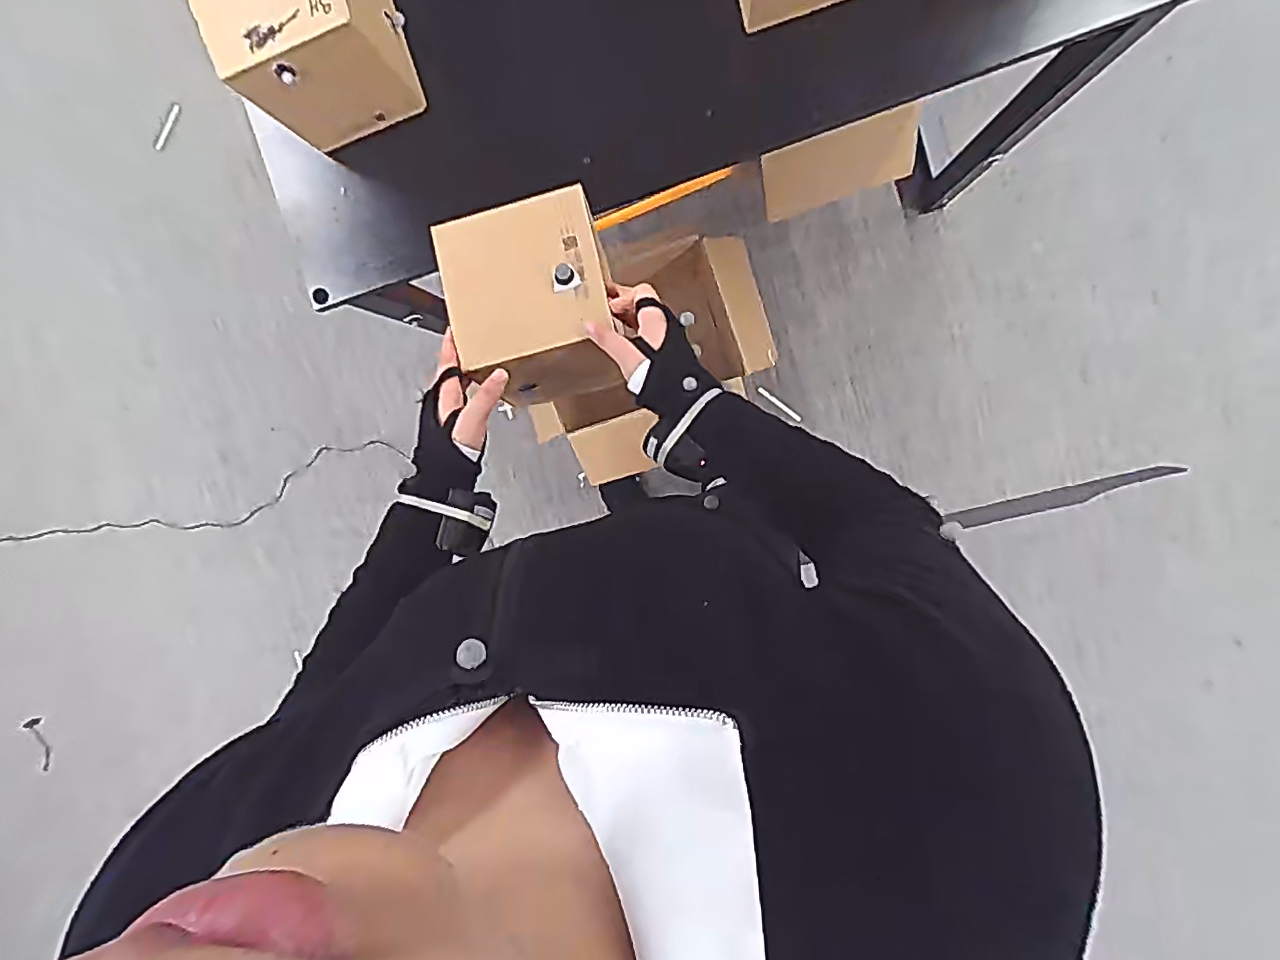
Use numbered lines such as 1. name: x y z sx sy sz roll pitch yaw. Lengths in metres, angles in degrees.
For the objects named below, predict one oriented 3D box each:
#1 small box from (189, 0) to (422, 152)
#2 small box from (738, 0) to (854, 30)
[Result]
1. small box: -0.394 -0.541 0.644 0.168 0.176 0.179 -17 94 7
2. small box: 0.184 -0.638 0.575 0.179 0.176 0.168 -14 95 6
